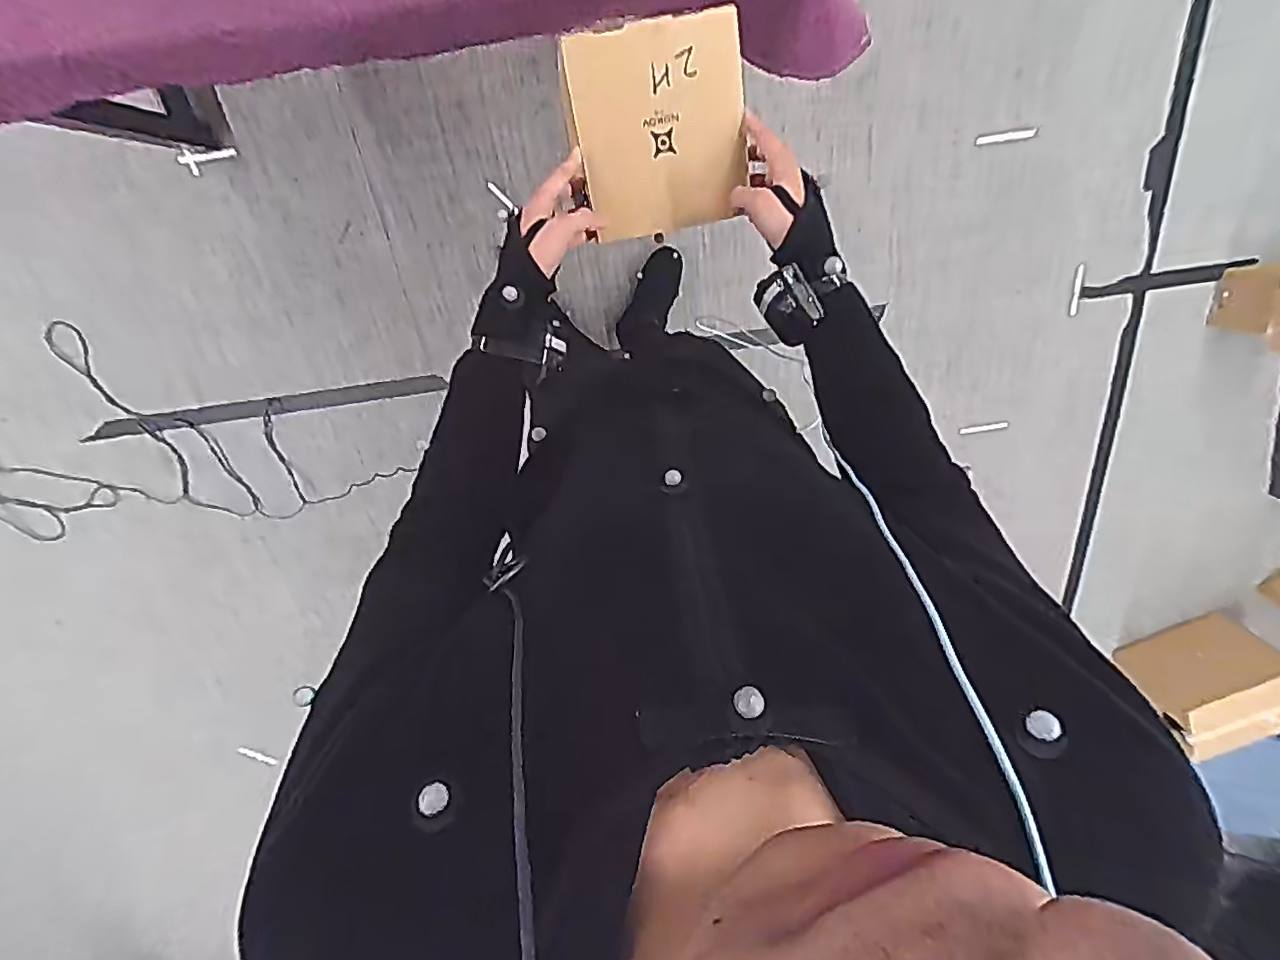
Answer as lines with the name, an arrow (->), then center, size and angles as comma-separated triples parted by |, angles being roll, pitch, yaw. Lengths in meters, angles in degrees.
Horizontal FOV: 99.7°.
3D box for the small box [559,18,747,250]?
small box -> 0.011, -0.364, 0.597 | 0.168, 0.176, 0.179 | -12, 116, -2
